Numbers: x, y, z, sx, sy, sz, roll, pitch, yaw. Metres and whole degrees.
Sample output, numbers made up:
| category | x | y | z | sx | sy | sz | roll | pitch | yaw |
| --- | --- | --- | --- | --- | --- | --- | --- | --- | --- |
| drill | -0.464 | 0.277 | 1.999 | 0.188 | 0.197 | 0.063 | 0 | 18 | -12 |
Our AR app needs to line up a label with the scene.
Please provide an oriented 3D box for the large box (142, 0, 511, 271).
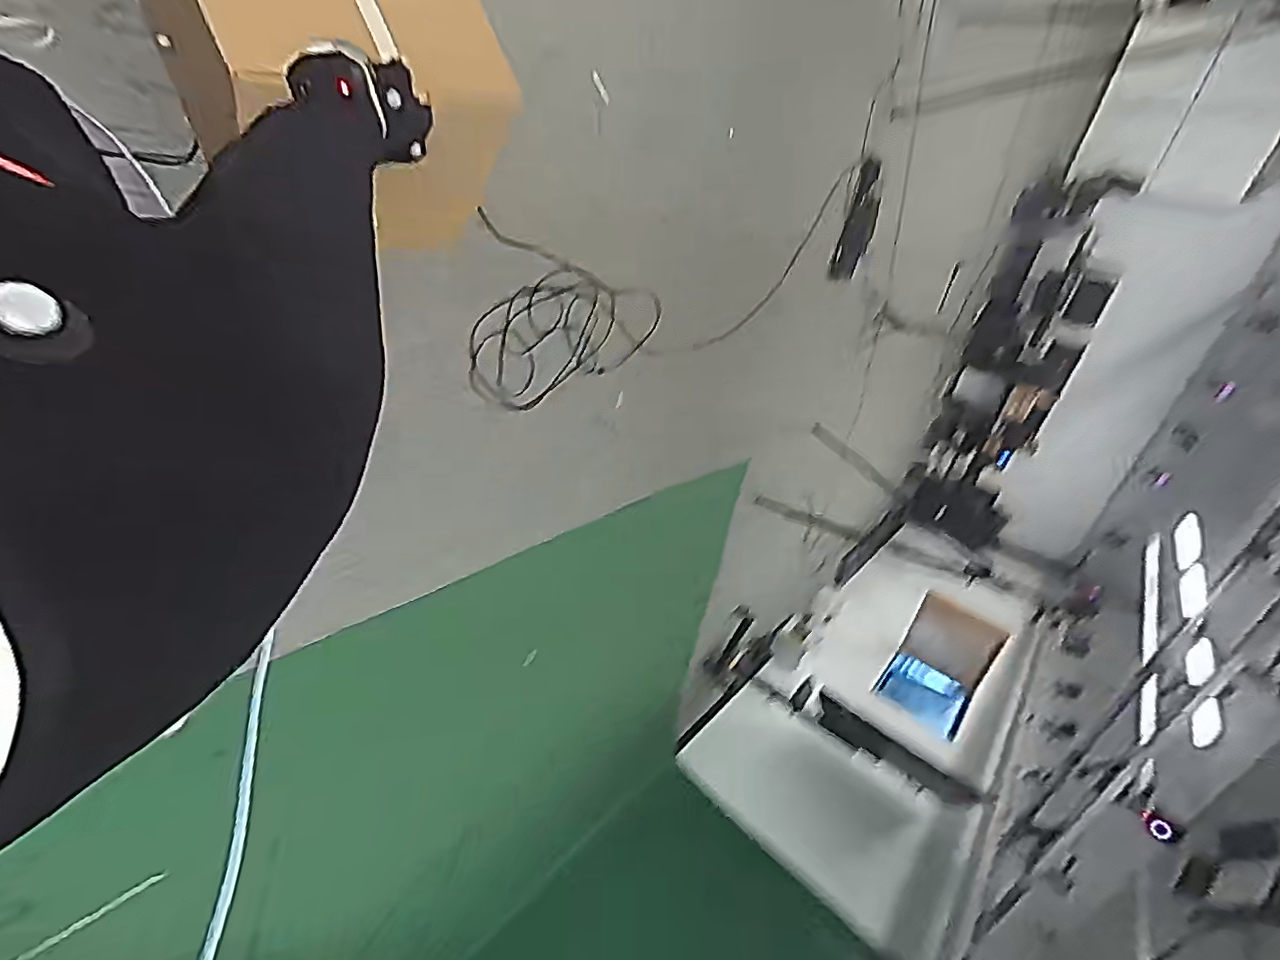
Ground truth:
| category | x | y | z | sx | sy | sz | roll | pitch | yaw |
| --- | --- | --- | --- | --- | --- | --- | --- | --- | --- |
| large box | -0.436 | -0.563 | 0.737 | 0.320 | 0.320 | 0.408 | -24 | 87 | -35 |
